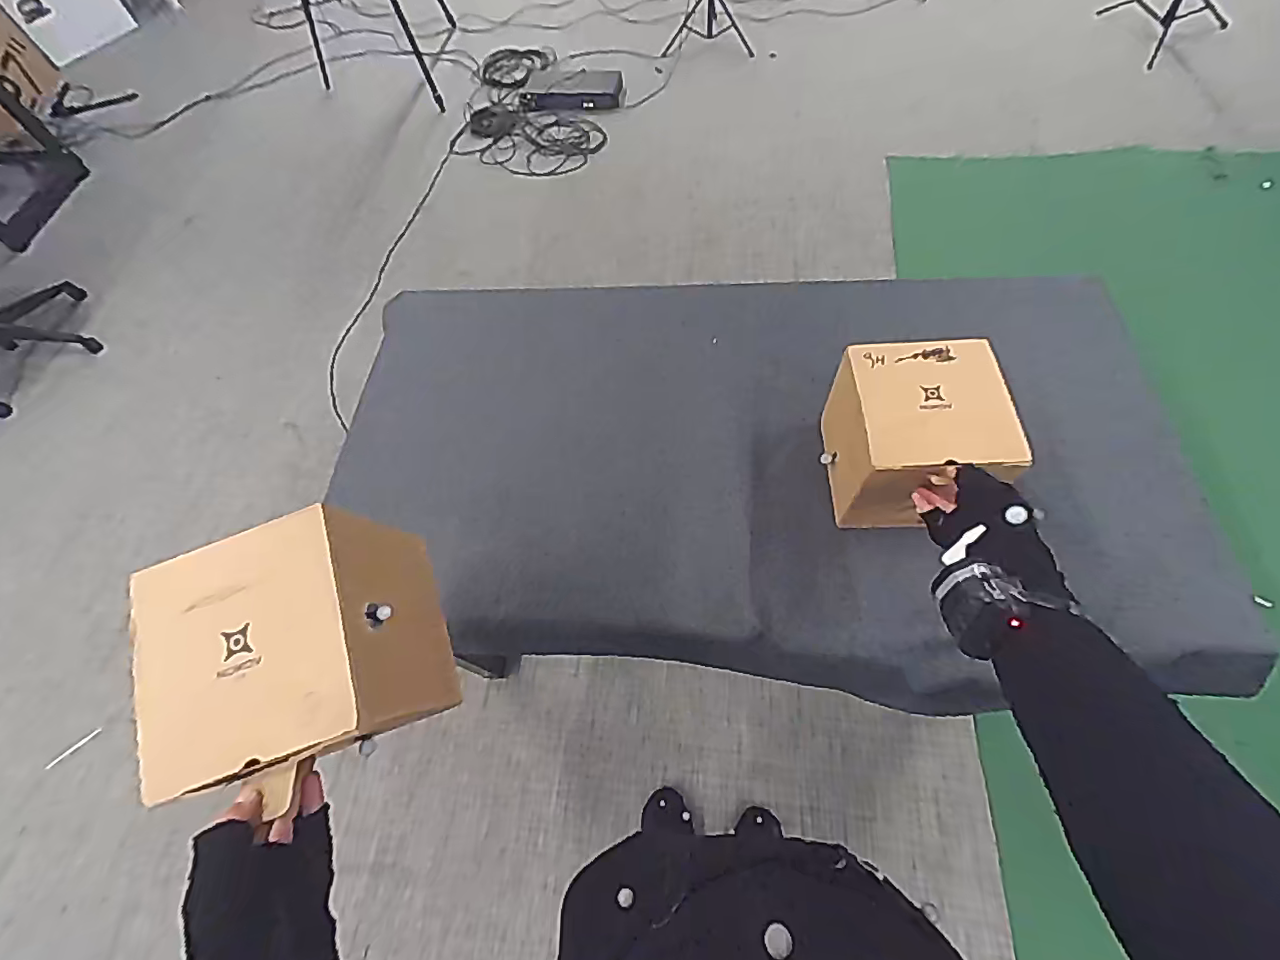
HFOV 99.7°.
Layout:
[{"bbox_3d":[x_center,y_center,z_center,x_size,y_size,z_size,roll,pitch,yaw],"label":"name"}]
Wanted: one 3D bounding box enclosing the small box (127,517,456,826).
[{"bbox_3d":[-0.282,0.155,0.467,0.168,0.176,0.179,-21,71,0],"label":"small box"}]
